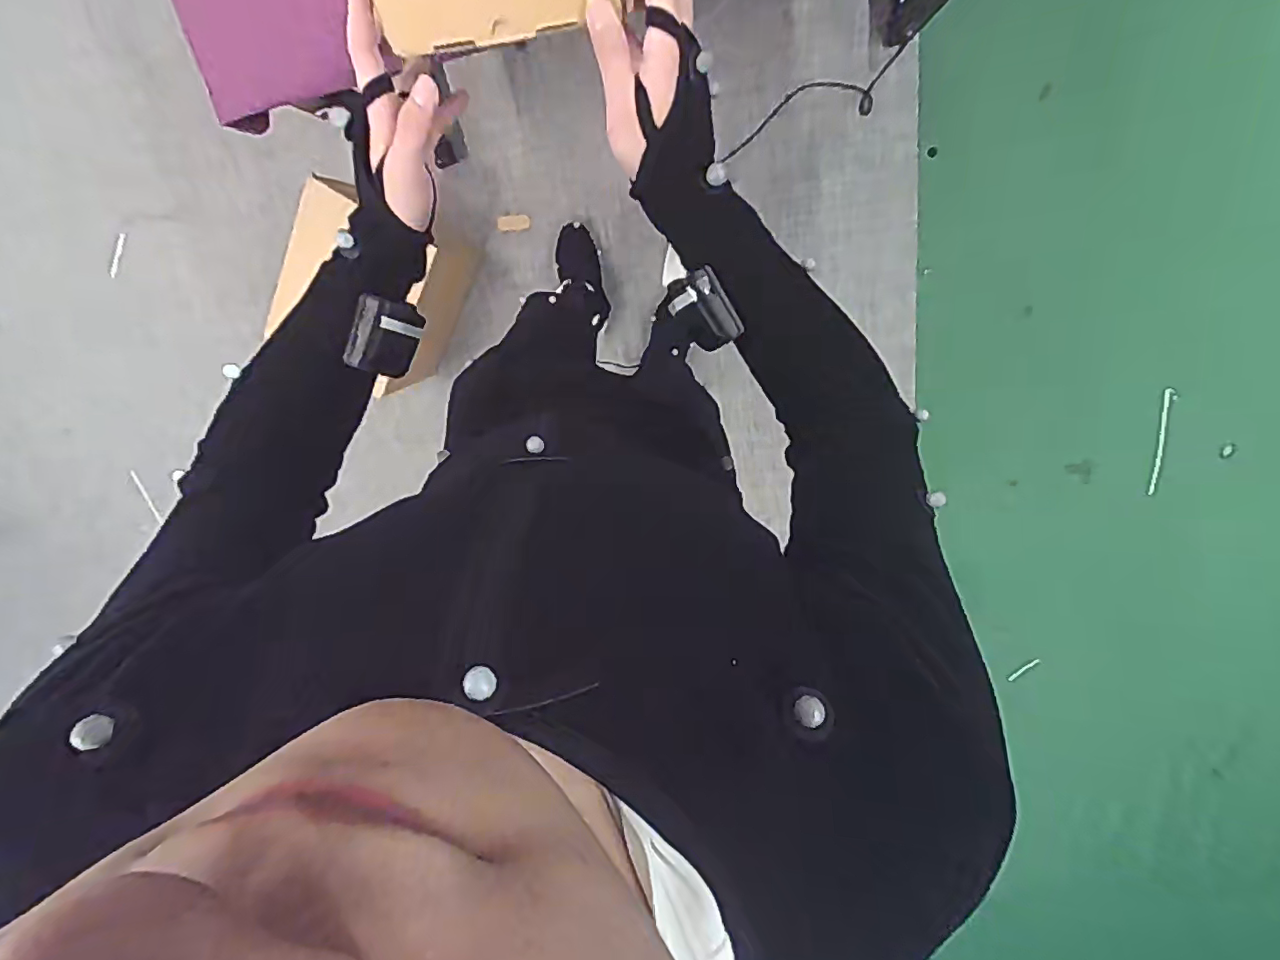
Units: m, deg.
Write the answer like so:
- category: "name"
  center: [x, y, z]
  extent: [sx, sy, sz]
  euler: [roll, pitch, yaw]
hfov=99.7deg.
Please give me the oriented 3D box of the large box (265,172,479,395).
- category: "large box"
  center: [-0.671, -0.487, 1.392]
  extent: [0.320, 0.320, 0.408]
  euler: [29, 110, -7]

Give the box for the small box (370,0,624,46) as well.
- category: "small box"
  center: [-0.102, -0.419, 0.360]
  extent: [0.168, 0.176, 0.179]
  euler: [-5, 135, 6]

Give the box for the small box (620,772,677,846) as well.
- category: "small box"
  center: [0.037, 1.217, 2.006]
  extent: [0.179, 0.176, 0.168]
  euler: [-12, 109, 9]
